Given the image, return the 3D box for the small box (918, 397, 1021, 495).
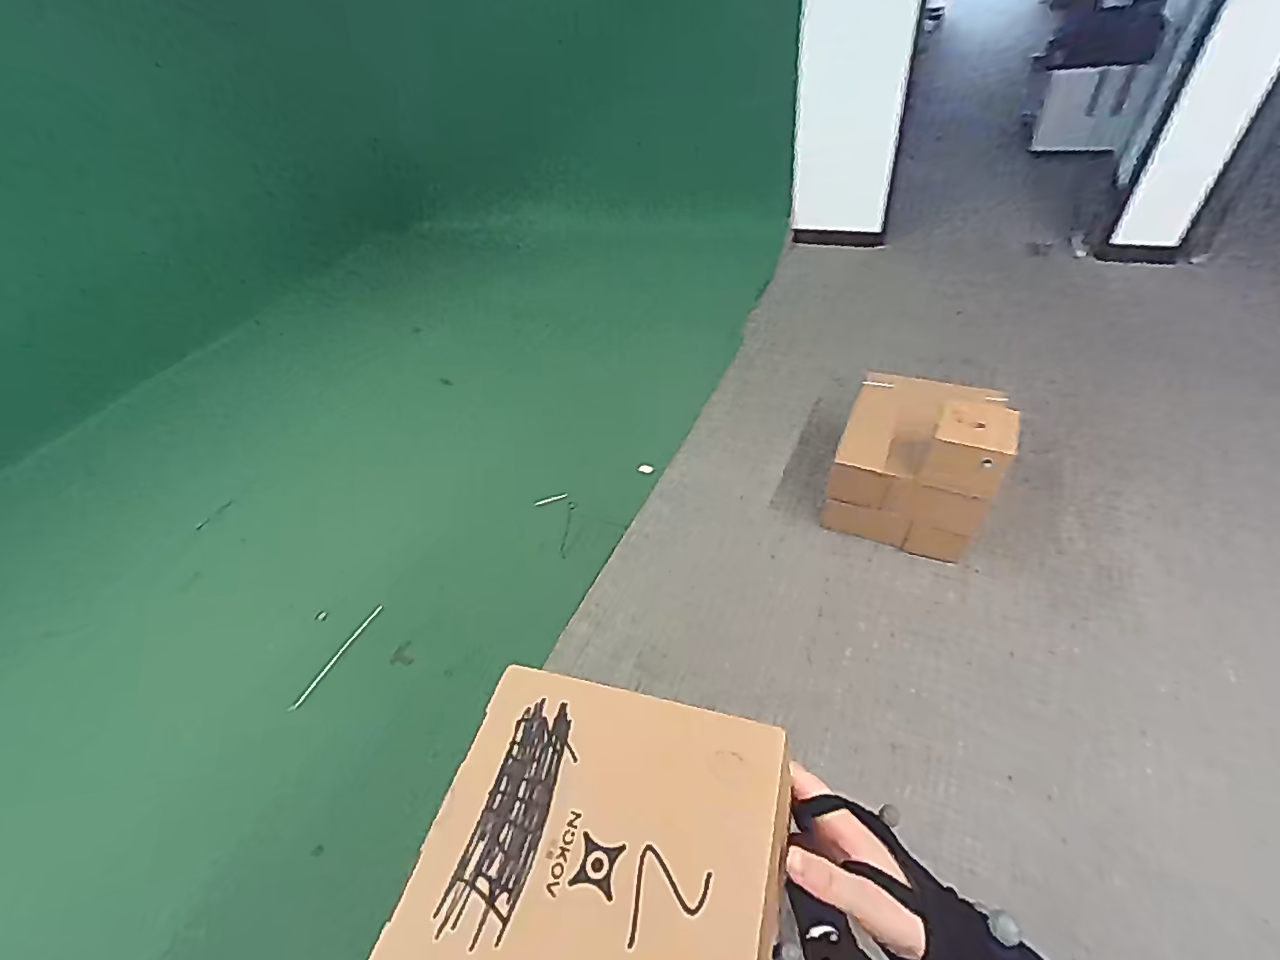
[{"bbox_3d":[0.839,-0.084,1.385,0.179,0.176,0.168,16,53,24],"label":"small box"}]
